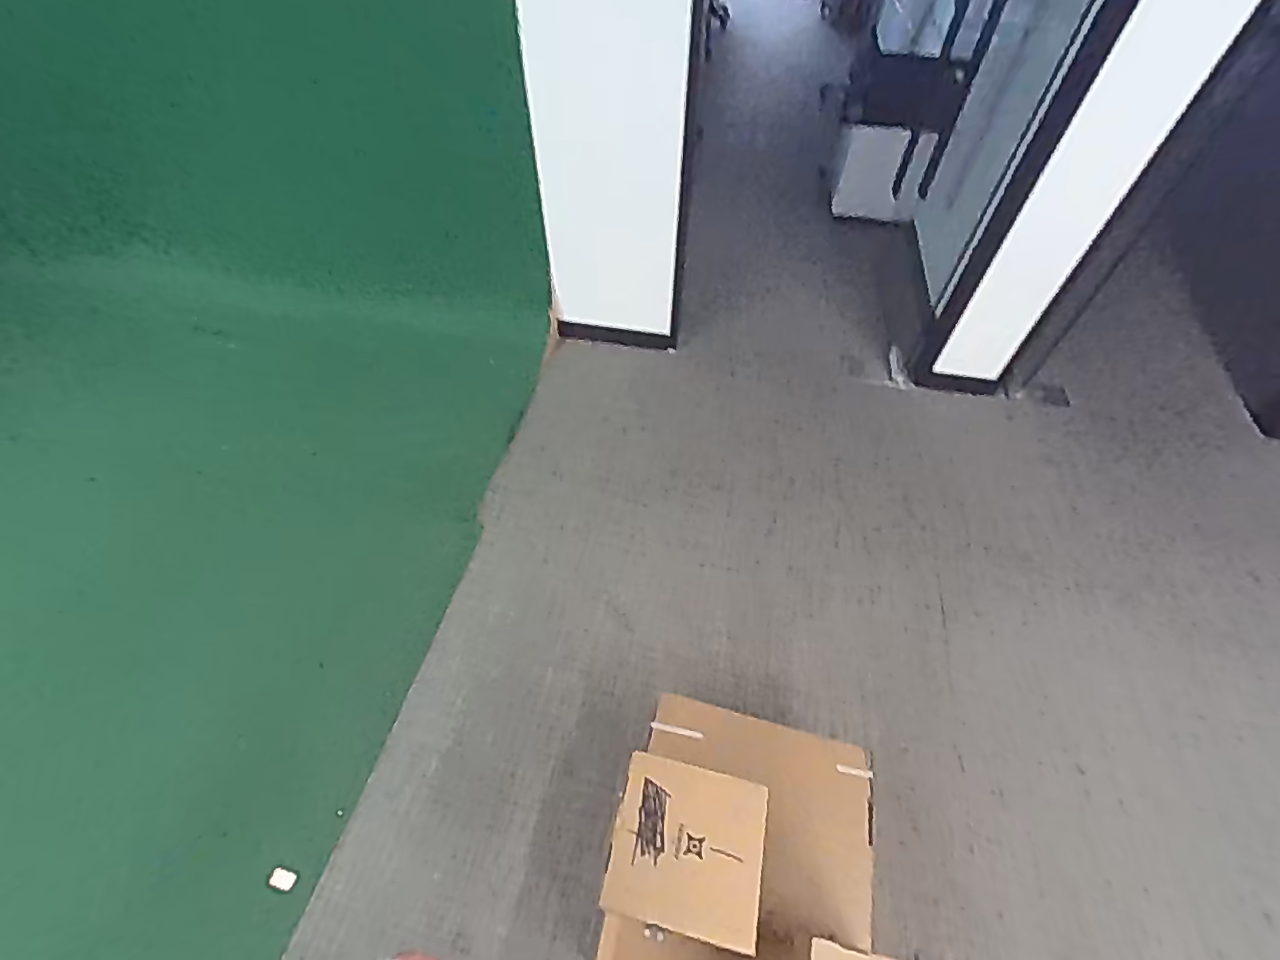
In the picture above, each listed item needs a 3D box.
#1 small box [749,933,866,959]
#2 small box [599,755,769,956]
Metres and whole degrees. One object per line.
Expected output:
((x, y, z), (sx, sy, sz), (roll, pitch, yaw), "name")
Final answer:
((0.239, 0.721, 0.711), (0.179, 0.176, 0.168), (10, 50, 8), "small box")
((0.057, 0.478, 0.690), (0.179, 0.176, 0.168), (10, 51, 9), "small box")
